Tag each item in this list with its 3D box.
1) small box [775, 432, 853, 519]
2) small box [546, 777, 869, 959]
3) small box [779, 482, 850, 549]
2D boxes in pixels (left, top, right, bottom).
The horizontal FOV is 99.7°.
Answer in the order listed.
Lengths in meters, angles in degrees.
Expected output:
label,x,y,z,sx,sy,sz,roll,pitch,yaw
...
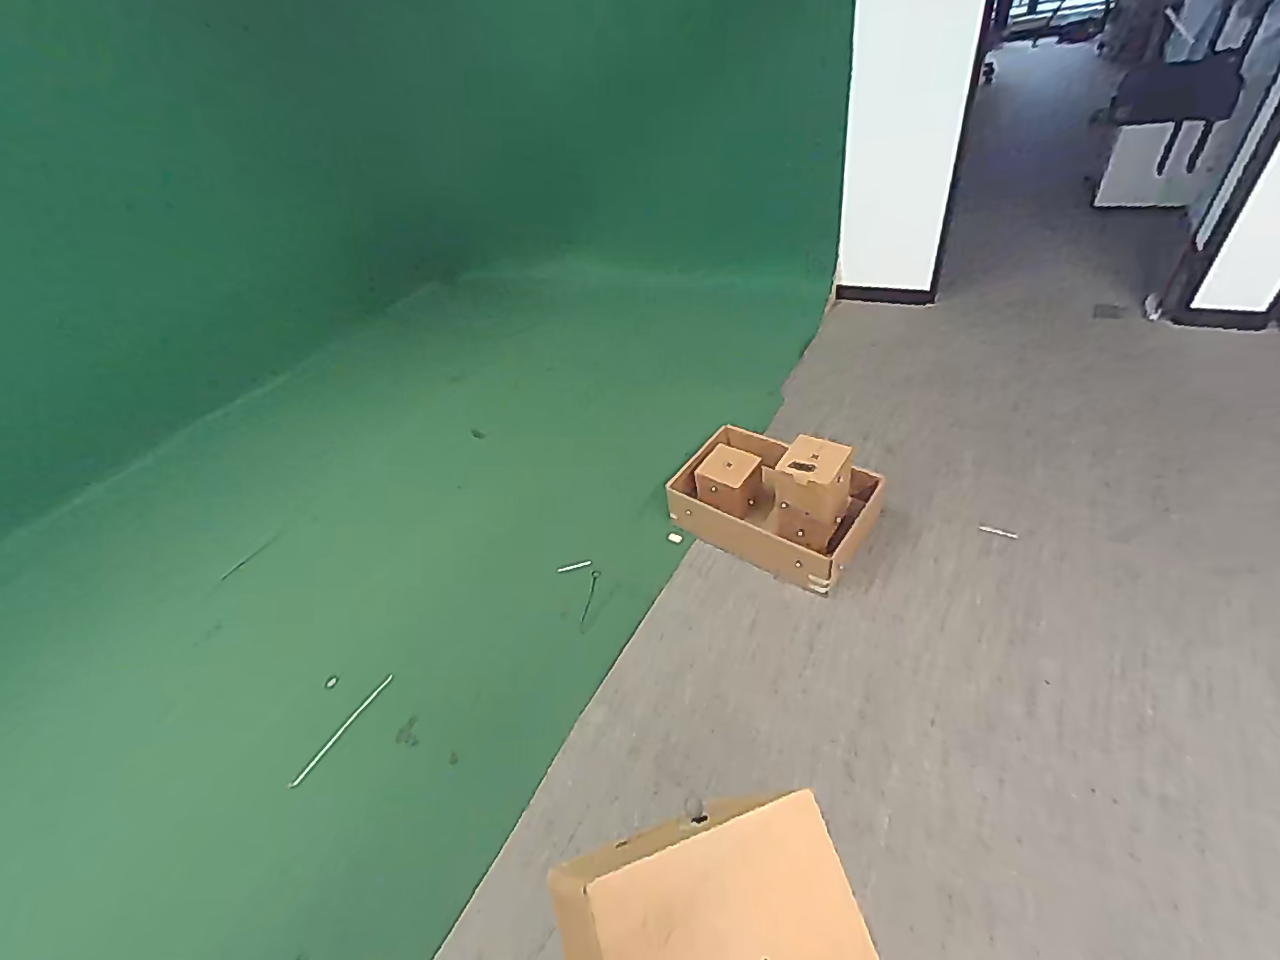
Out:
label,x,y,z,sx,sy,sz,roll,pitch,yaw
small box,0.525,-0.011,1.627,0.168,0.176,0.179,21,53,33
small box,0.039,0.332,0.376,0.168,0.176,0.179,-8,63,-22
small box,0.565,0.095,1.747,0.168,0.176,0.179,19,54,32
